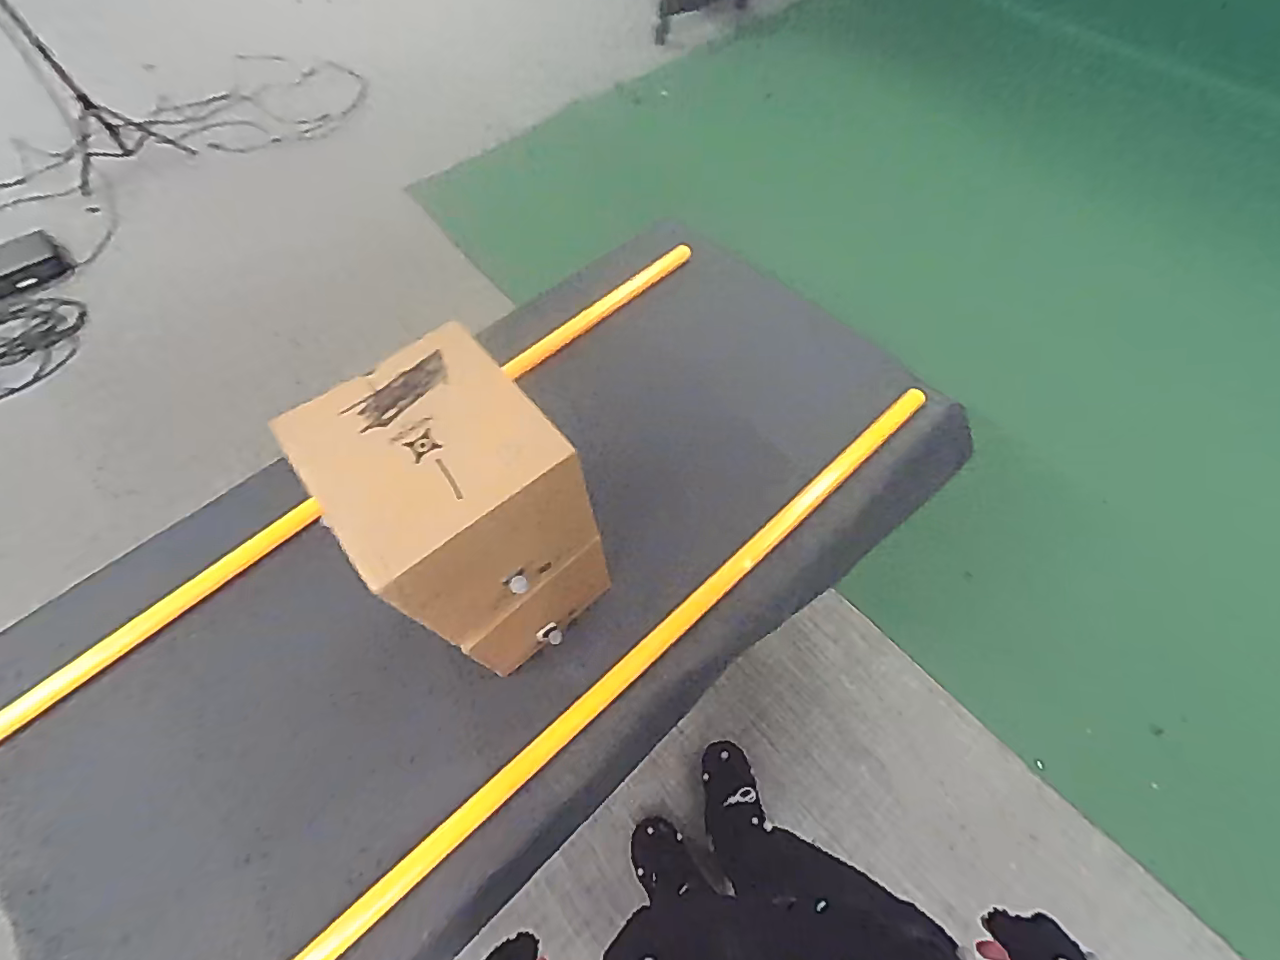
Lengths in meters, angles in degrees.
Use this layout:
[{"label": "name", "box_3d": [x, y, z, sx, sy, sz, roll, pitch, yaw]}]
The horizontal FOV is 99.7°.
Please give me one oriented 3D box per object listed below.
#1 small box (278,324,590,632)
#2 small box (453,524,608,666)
[{"label": "small box", "box_3d": [-0.162, 0.006, 0.478, 0.168, 0.176, 0.179, -37, 67, -16]}, {"label": "small box", "box_3d": [-0.155, 0.088, 0.620, 0.168, 0.176, 0.179, -41, 69, -17]}]
